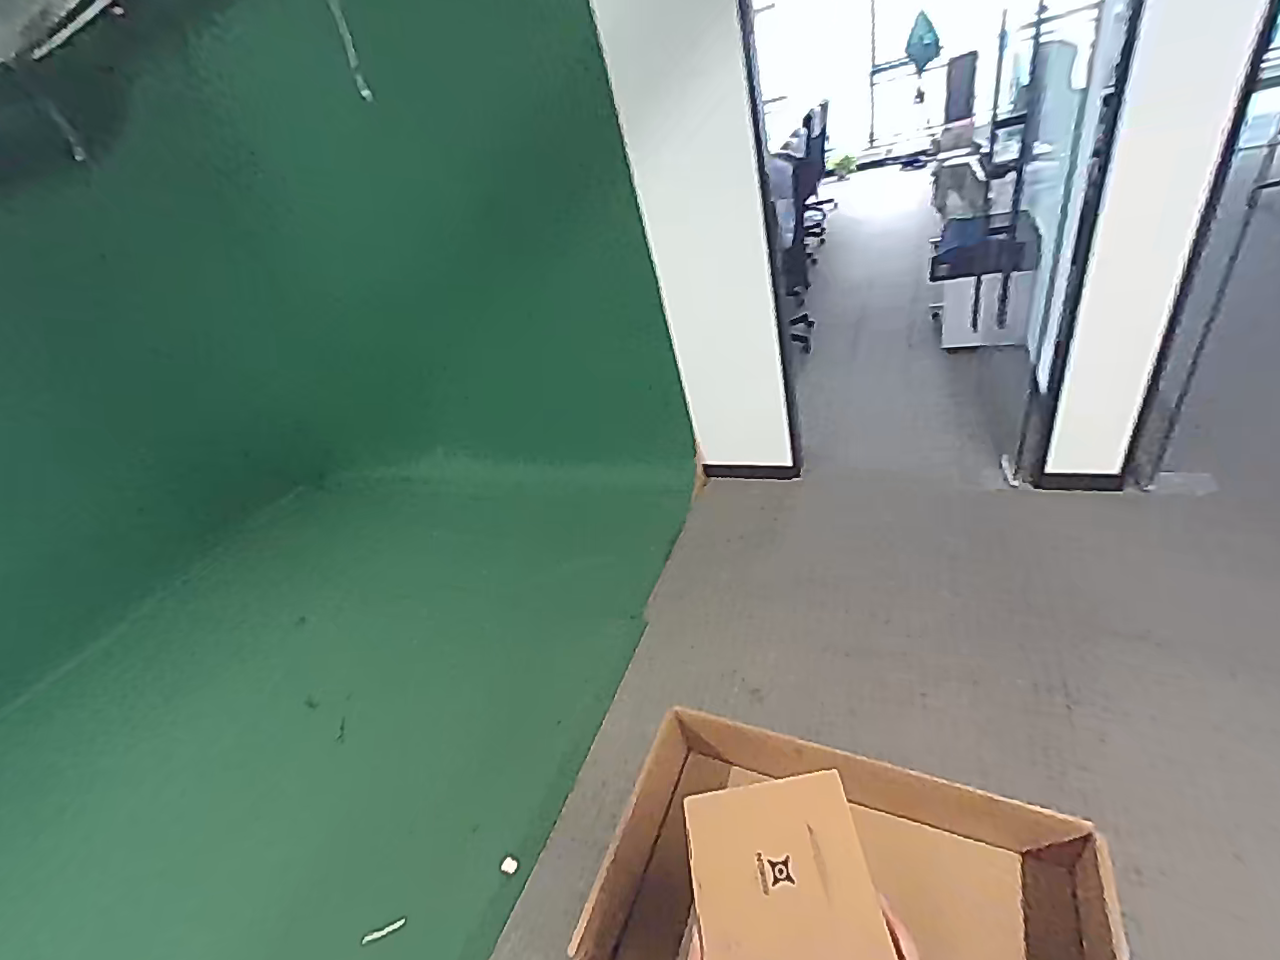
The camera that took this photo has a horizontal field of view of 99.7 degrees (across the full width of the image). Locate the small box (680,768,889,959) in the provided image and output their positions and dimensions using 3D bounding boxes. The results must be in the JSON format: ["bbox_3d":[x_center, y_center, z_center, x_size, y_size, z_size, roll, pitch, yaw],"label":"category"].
[{"bbox_3d":[0.157,0.444,0.592,0.179,0.176,0.168,-16,42,9],"label":"small box"}]
